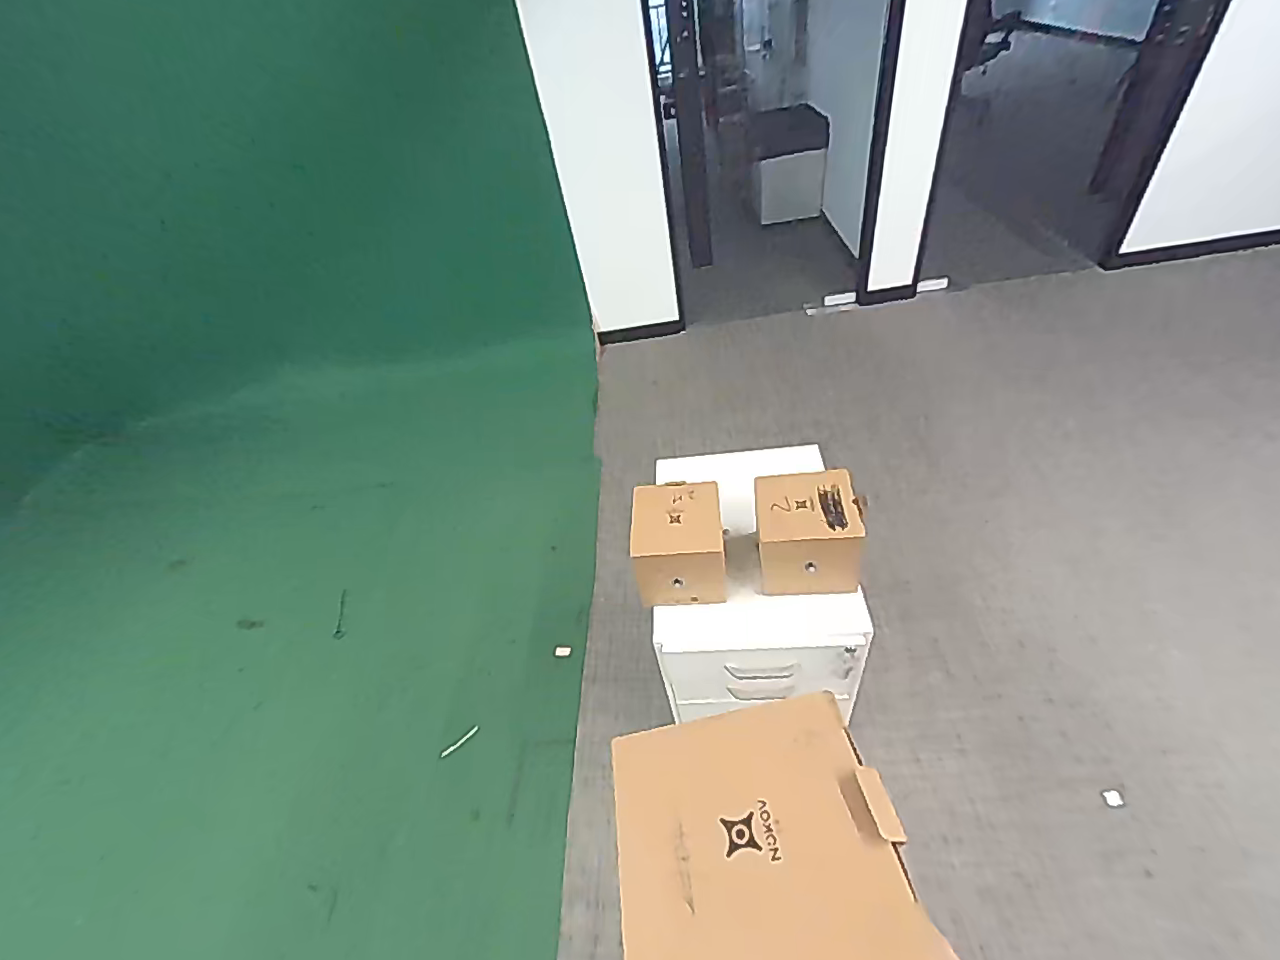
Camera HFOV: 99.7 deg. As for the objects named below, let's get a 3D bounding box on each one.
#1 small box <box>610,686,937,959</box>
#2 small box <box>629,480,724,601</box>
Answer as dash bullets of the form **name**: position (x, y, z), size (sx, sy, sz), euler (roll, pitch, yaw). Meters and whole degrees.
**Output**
- **small box**: position (0.087, 0.286, 0.400), size (0.179, 0.176, 0.168), euler (-16, 36, 5)
- **small box**: position (0.077, 0.123, 1.053), size (0.168, 0.176, 0.179), euler (-3, 44, 7)
